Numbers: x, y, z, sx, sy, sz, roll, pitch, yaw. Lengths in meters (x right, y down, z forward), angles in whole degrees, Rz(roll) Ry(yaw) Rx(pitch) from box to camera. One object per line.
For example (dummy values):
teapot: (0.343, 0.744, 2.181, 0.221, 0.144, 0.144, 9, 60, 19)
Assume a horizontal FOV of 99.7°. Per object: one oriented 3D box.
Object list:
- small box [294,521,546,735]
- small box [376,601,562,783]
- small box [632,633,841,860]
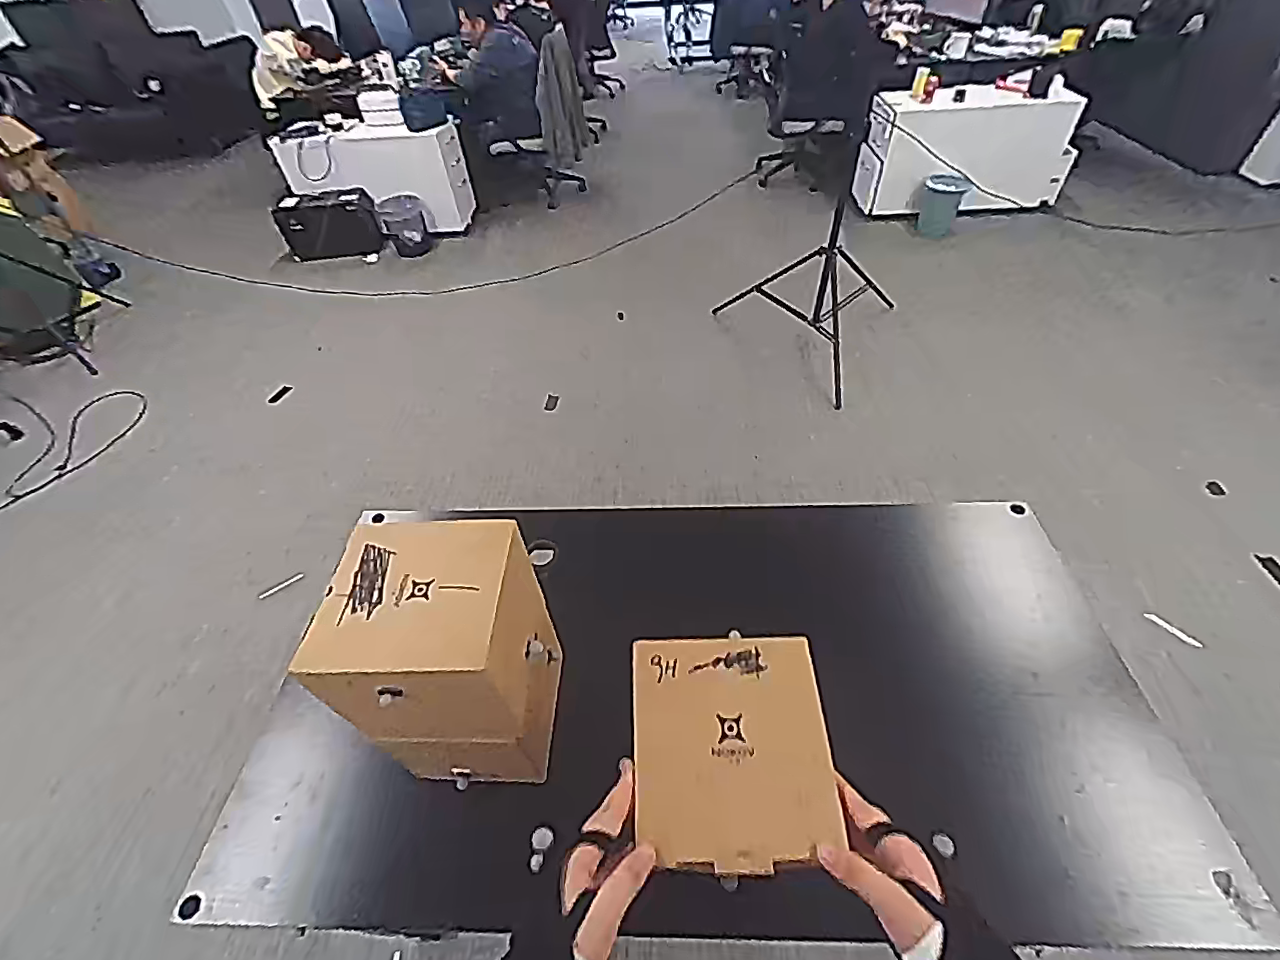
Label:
small box: (-0.210, 0.160, 0.576, 0.179, 0.176, 0.168, -2, 47, 2)
small box: (-0.201, 0.271, 0.697, 0.168, 0.176, 0.179, -2, 48, 4)
small box: (0.078, 0.264, 0.532, 0.168, 0.176, 0.179, -1, 56, 0)
